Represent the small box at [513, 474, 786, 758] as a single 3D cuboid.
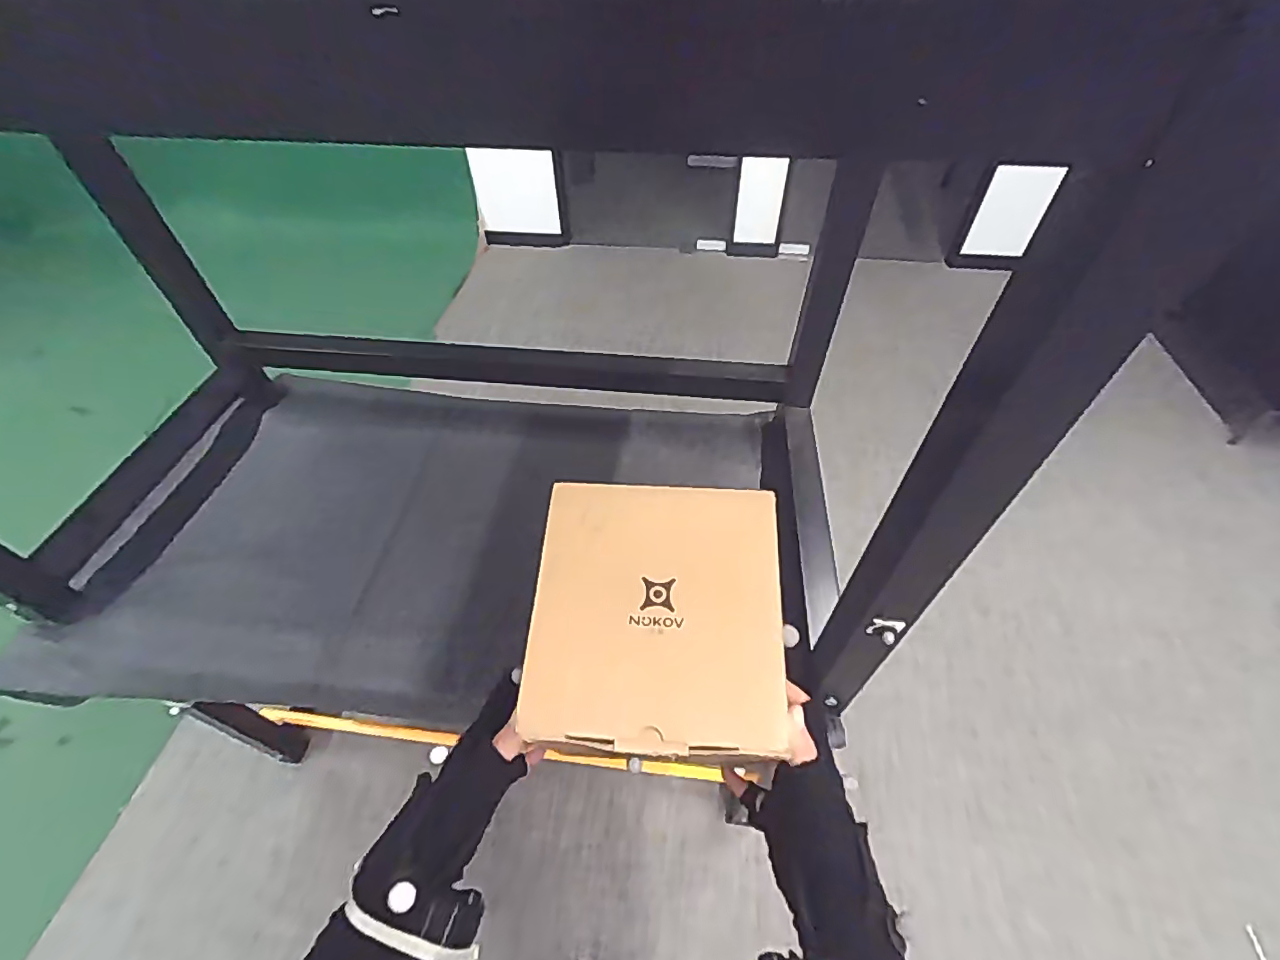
[{"bbox_3d":[0.012,0.113,0.429,0.168,0.176,0.179,2,60,3],"label":"small box"}]
